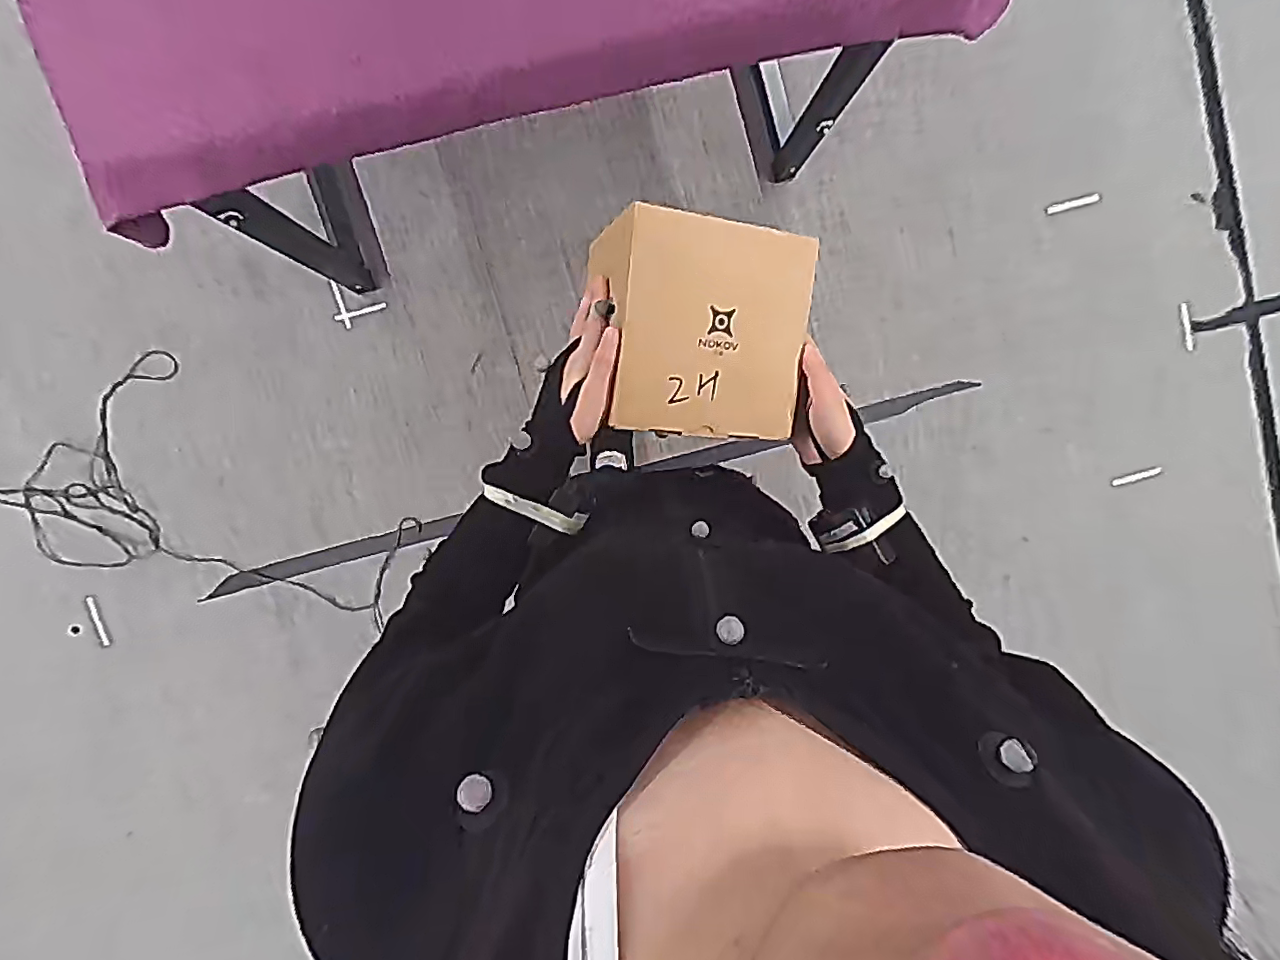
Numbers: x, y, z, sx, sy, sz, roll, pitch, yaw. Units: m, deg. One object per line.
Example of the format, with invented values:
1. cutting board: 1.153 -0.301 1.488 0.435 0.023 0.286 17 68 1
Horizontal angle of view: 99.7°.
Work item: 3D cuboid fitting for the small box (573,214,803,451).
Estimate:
1. small box: 0.033 -0.128 0.528 0.168 0.176 0.179 4 98 -17
